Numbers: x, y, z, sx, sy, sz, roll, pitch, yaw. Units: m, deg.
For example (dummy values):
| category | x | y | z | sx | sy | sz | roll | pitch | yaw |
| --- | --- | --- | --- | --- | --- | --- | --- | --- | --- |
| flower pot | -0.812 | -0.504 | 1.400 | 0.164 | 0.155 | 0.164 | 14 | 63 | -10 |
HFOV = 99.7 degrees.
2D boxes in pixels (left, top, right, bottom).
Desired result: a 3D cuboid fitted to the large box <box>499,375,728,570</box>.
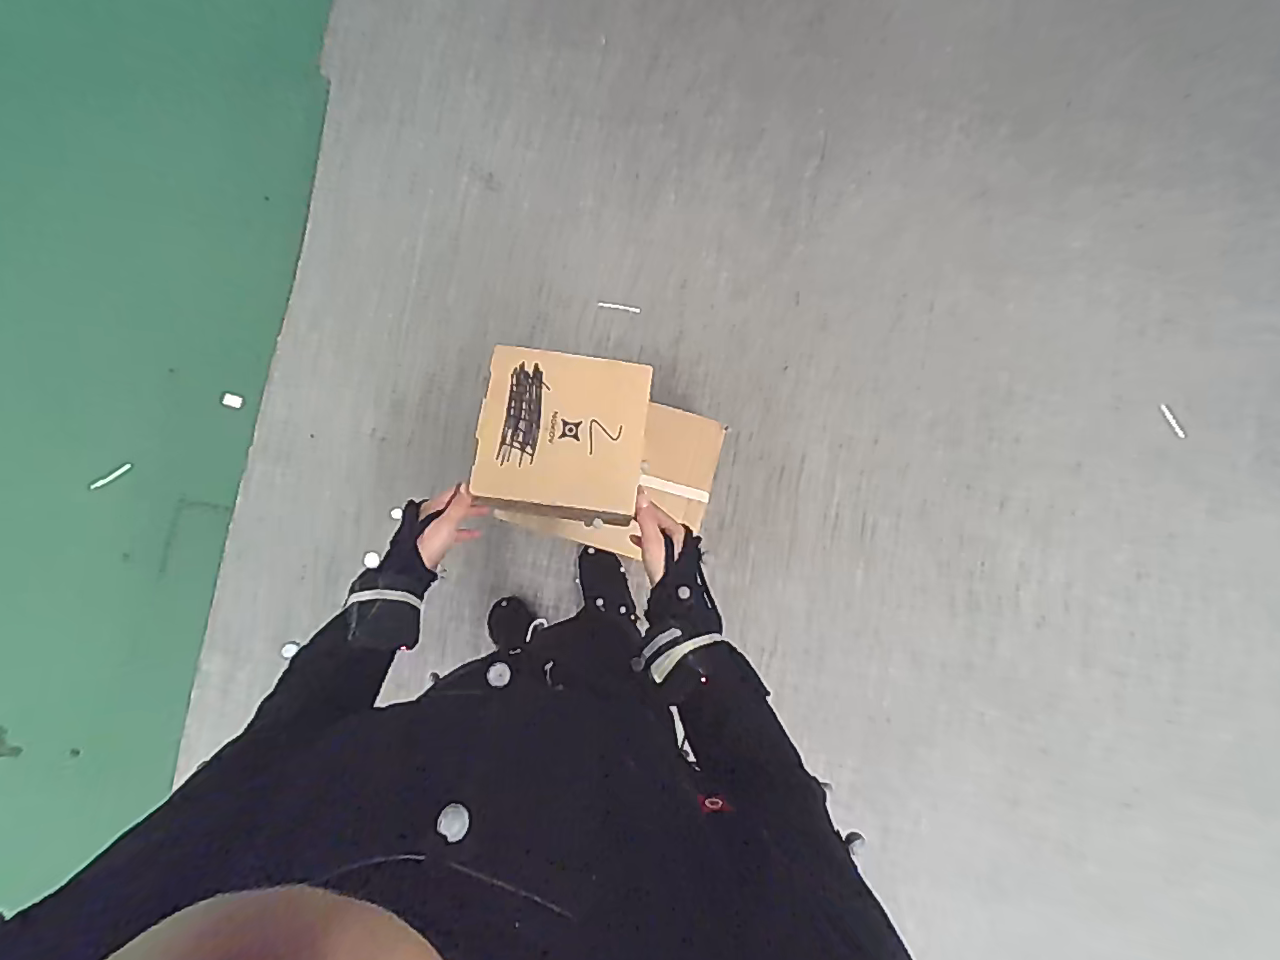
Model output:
| category | x | y | z | sx | sy | sz | roll | pitch | yaw |
| --- | --- | --- | --- | --- | --- | --- | --- | --- | --- |
| large box | -0.054 | -0.009 | 1.224 | 0.408 | 0.320 | 0.320 | 16 | 88 | 1 |

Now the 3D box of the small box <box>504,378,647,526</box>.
| category | x | y | z | sx | sy | sz | roll | pitch | yaw |
| --- | --- | --- | --- | --- | --- | --- | --- | --- | --- |
| small box | -0.088 | -0.034 | 0.821 | 0.168 | 0.176 | 0.179 | 13 | 86 | 0 |
